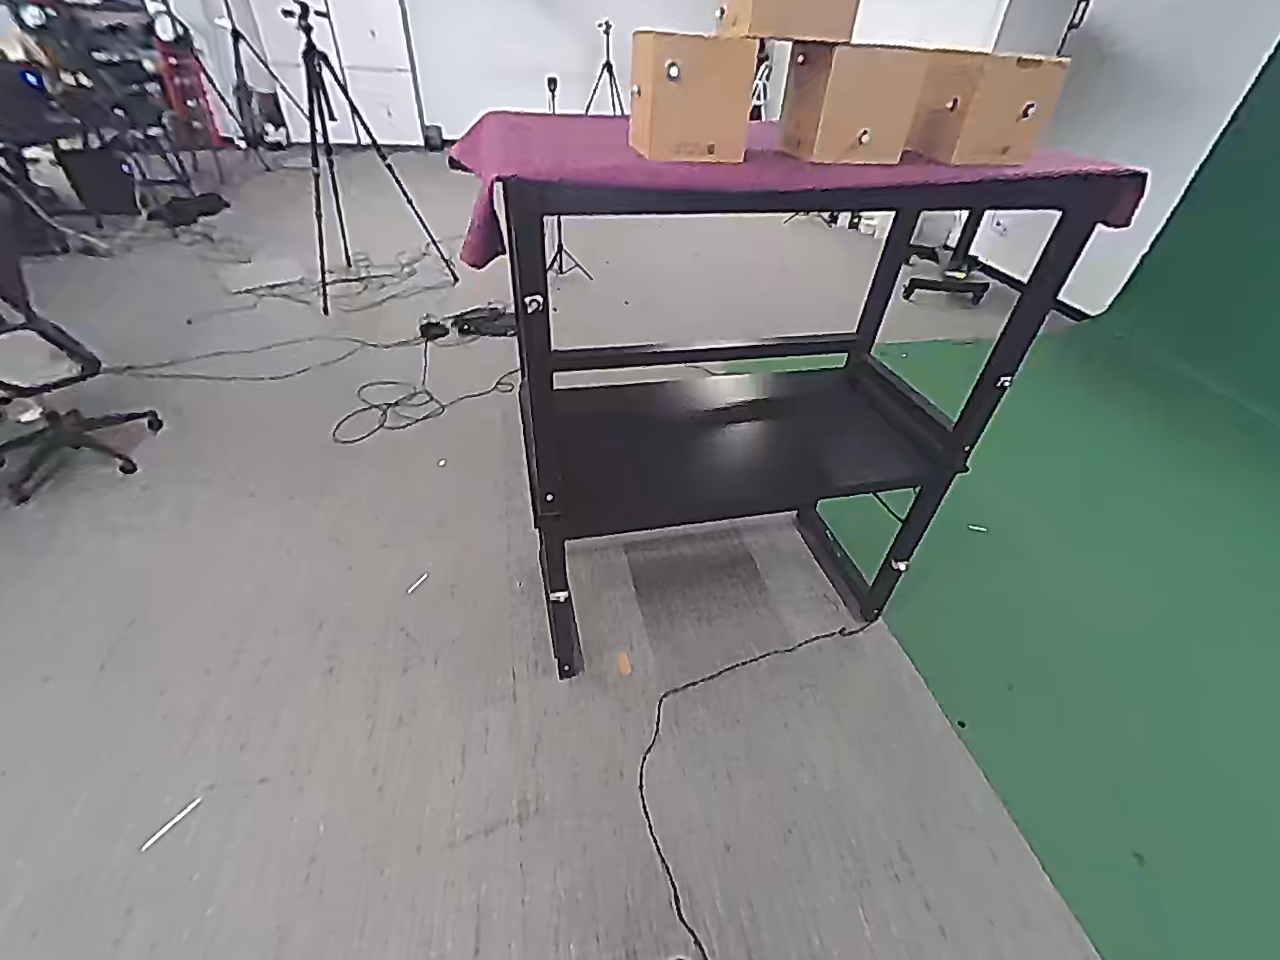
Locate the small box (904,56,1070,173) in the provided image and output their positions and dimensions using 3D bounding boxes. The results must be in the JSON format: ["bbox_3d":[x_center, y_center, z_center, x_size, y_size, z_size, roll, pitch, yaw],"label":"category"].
[{"bbox_3d":[0.642,-0.693,1.027,0.168,0.176,0.179,-3,40,-8],"label":"small box"}]

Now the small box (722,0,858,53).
[{"bbox_3d":[0.234,-0.778,0.840,0.179,0.176,0.168,-4,39,-11],"label":"small box"}]
